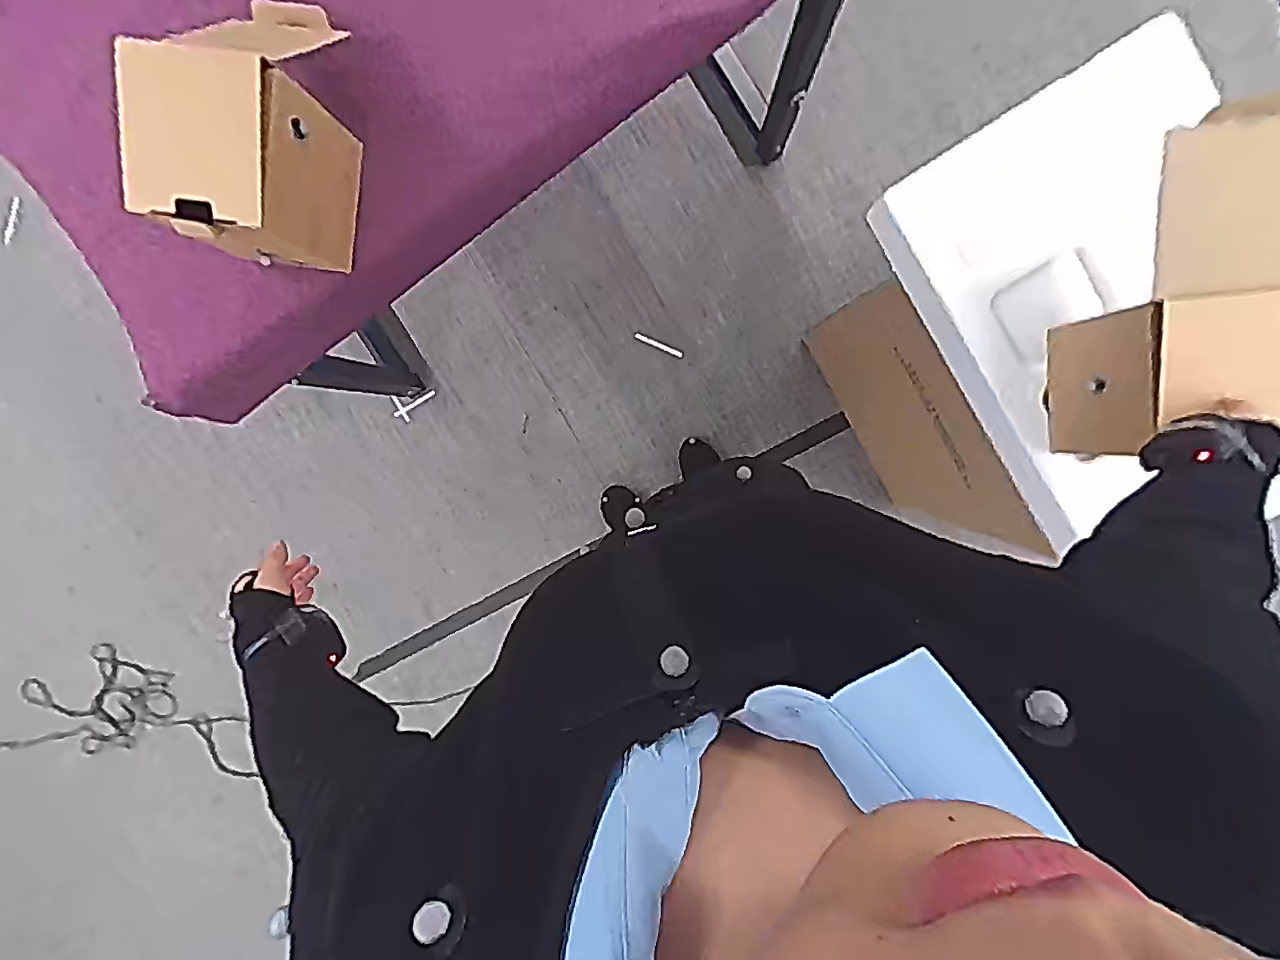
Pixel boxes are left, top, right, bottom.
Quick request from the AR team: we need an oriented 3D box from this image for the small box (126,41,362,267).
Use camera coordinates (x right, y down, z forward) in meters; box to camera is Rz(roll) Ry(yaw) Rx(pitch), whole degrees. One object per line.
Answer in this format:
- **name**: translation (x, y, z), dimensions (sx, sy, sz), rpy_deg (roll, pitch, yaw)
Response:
- **small box**: translation (-0.476, -0.389, 0.674), dimensions (0.168, 0.176, 0.179), rpy_deg (9, 95, 4)
